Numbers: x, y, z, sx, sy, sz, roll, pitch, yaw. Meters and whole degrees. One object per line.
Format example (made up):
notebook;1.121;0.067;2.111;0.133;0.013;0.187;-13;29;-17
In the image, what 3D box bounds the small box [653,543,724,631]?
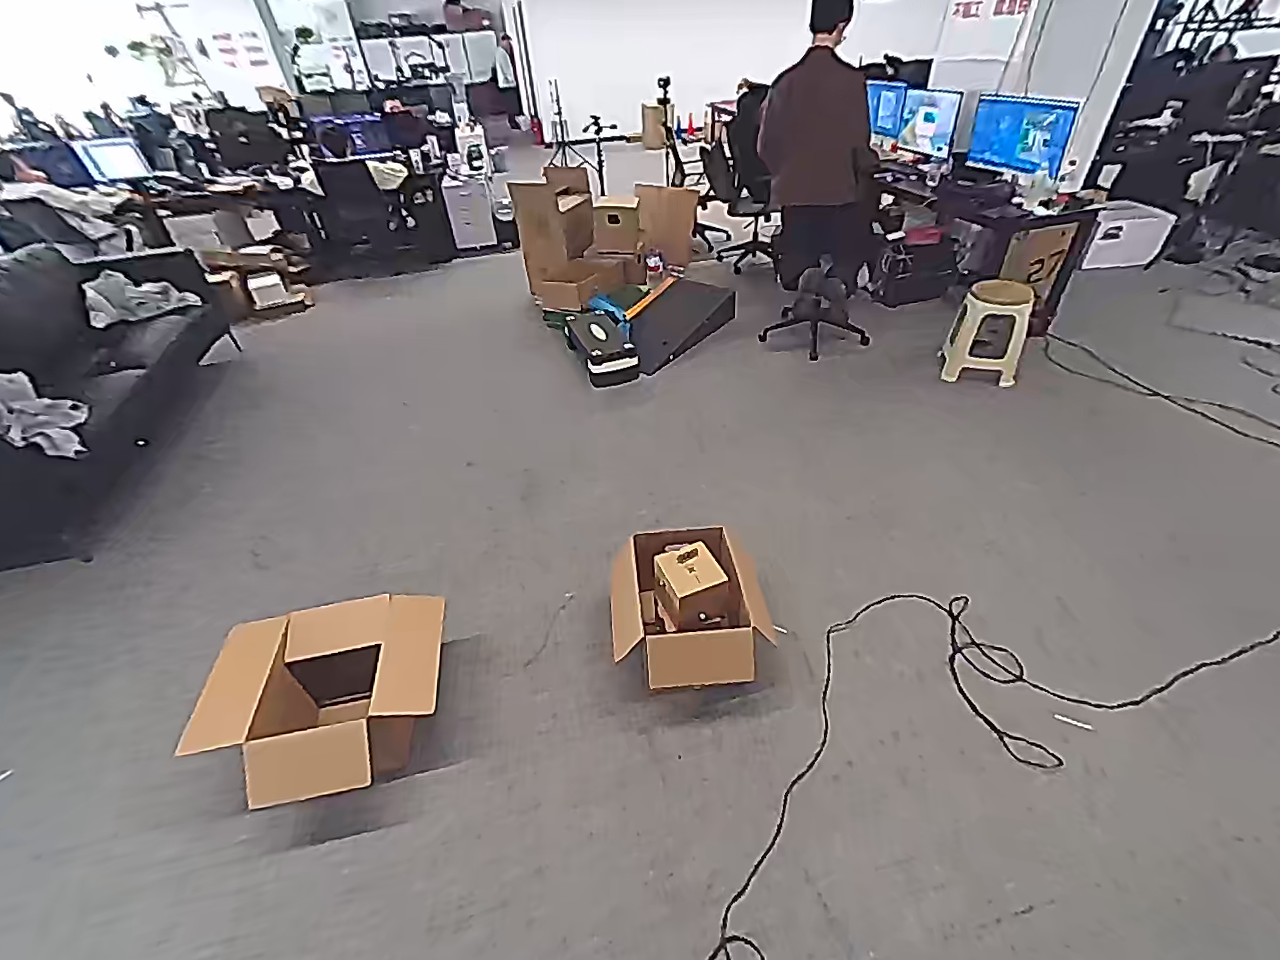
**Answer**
small box;0.146;0.328;1.659;0.168;0.176;0.179;-15;40;-13
